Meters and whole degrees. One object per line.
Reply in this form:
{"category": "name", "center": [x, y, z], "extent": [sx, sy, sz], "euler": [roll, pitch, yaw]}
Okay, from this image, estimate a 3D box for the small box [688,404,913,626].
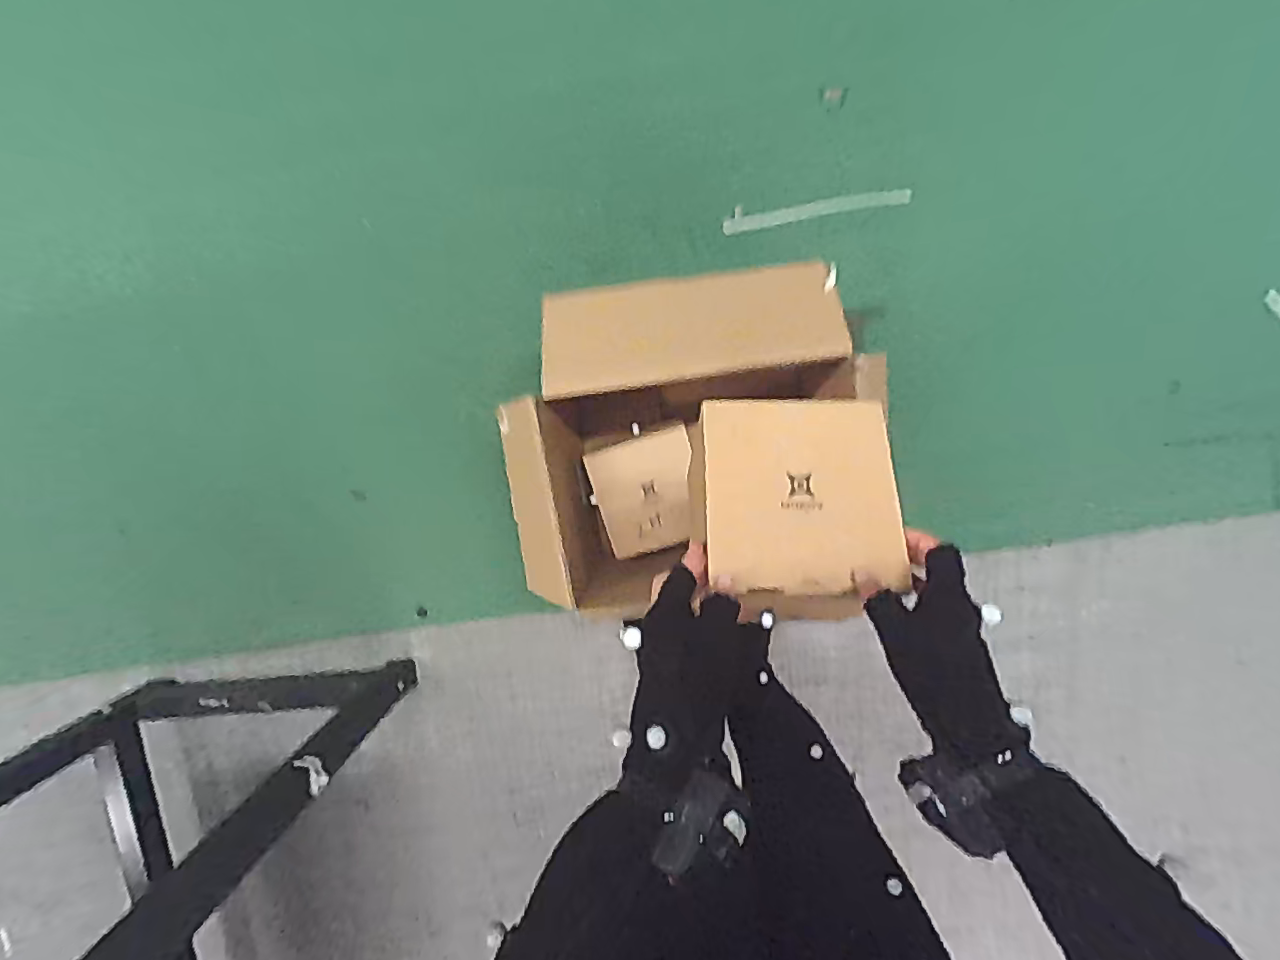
{"category": "small box", "center": [0.137, 0.043, 0.533], "extent": [0.168, 0.176, 0.179], "euler": [1, 69, 0]}
